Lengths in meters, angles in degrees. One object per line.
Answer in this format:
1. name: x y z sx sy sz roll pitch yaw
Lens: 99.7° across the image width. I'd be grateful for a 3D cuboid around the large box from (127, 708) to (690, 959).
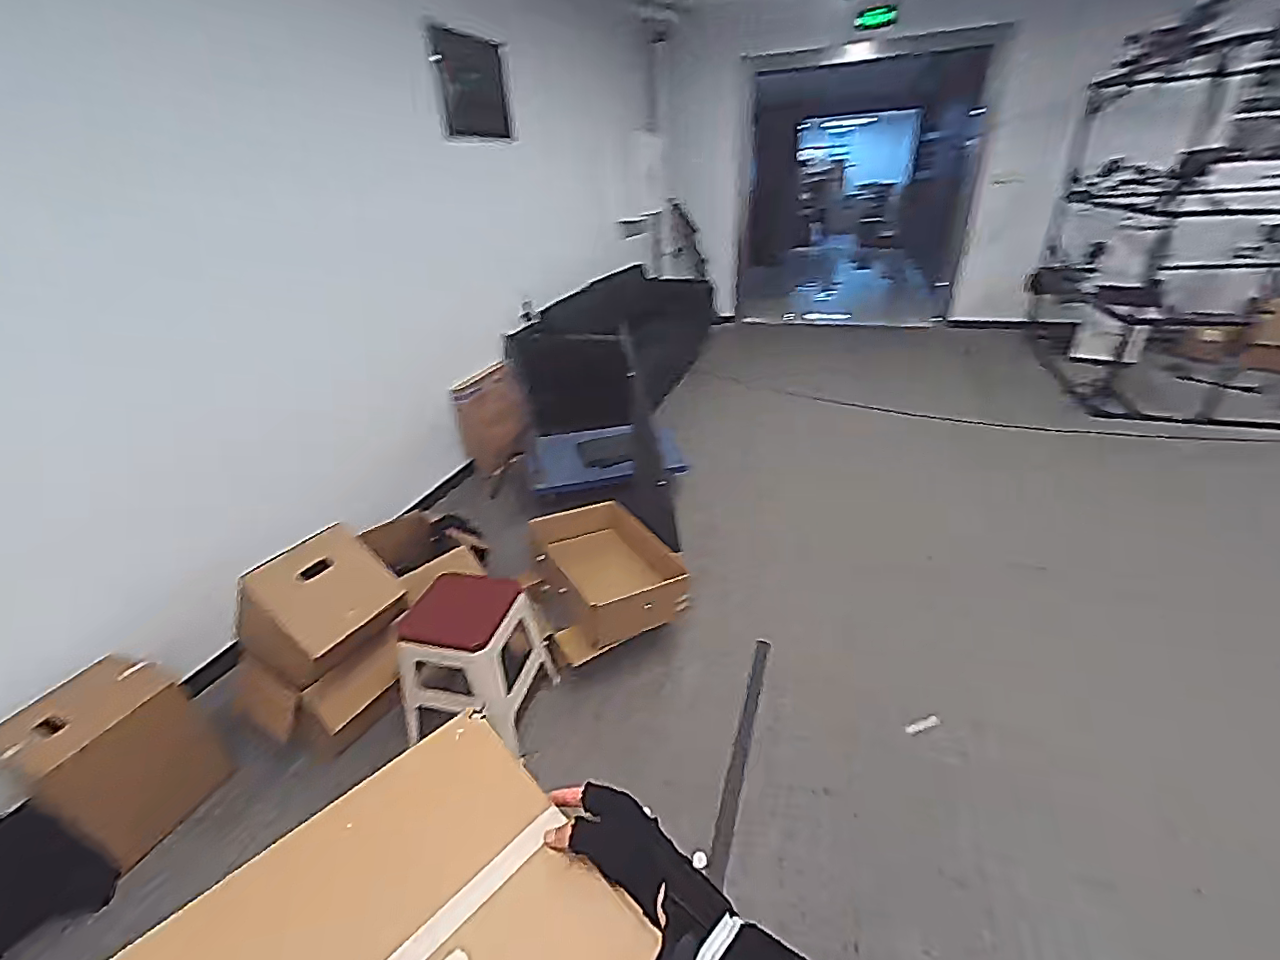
1. large box: -0.208 0.514 0.484 0.408 0.320 0.320 -26 44 -36
